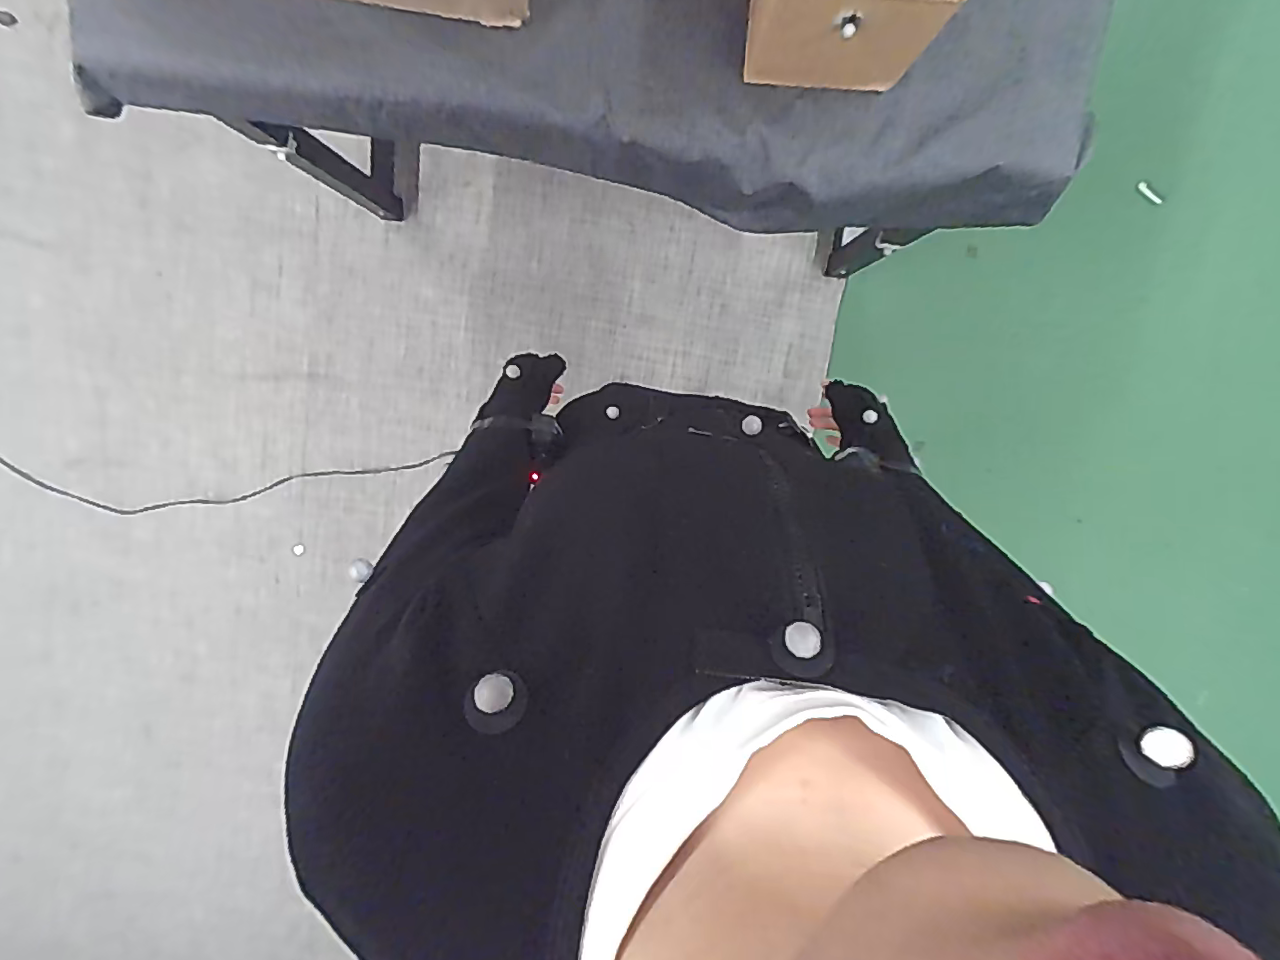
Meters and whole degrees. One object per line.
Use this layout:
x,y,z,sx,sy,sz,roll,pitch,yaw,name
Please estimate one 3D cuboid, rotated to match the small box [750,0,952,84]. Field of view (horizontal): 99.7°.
0.217,-0.541,0.553,0.179,0.176,0.168,3,102,-1,small box
